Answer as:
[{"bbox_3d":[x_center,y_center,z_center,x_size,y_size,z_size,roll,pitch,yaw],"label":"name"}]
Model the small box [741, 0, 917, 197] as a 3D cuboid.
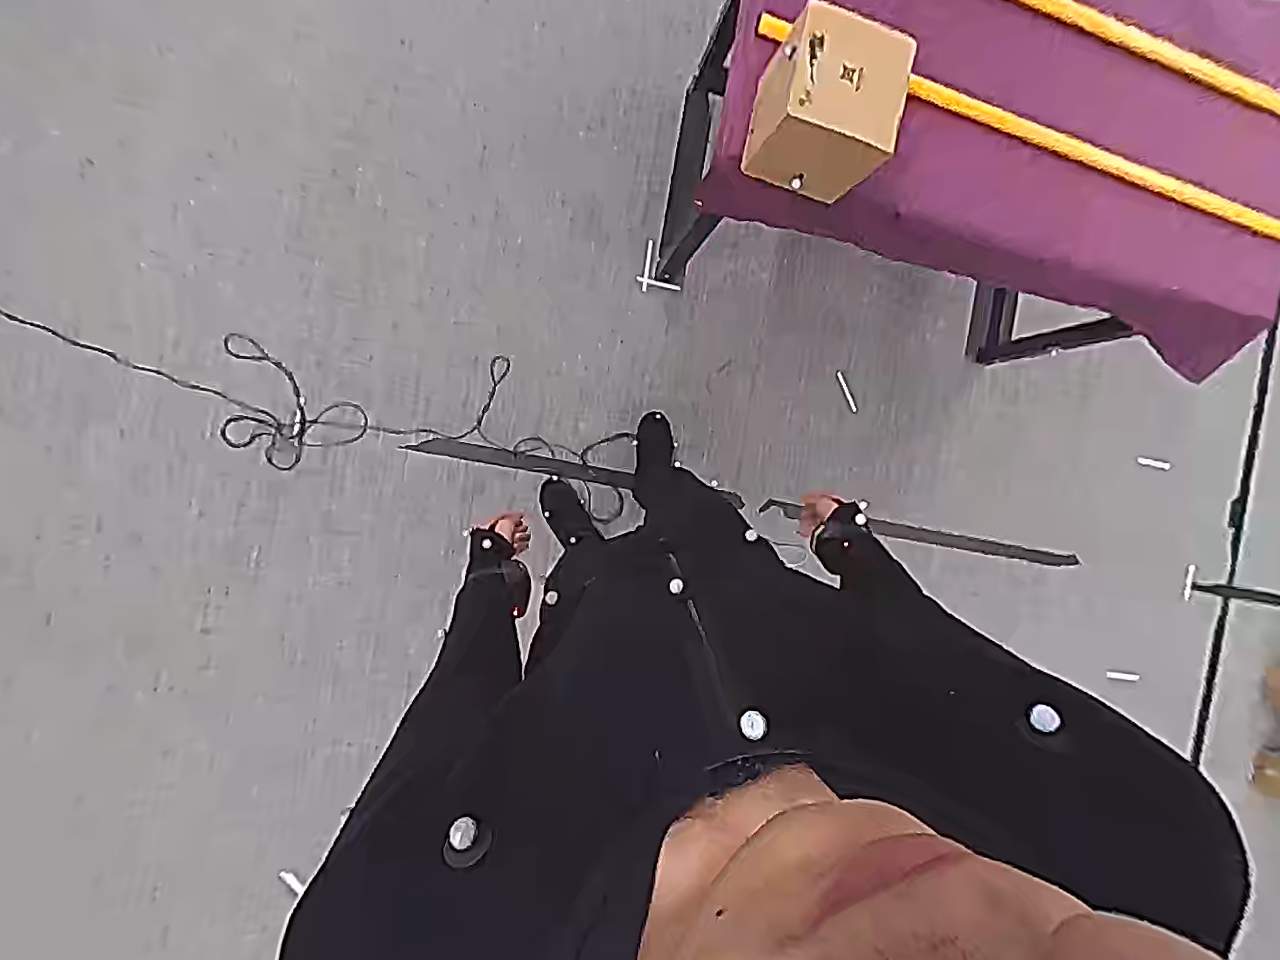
[{"bbox_3d":[0.282,-0.570,0.838,0.179,0.176,0.168,12,91,-13],"label":"small box"}]
